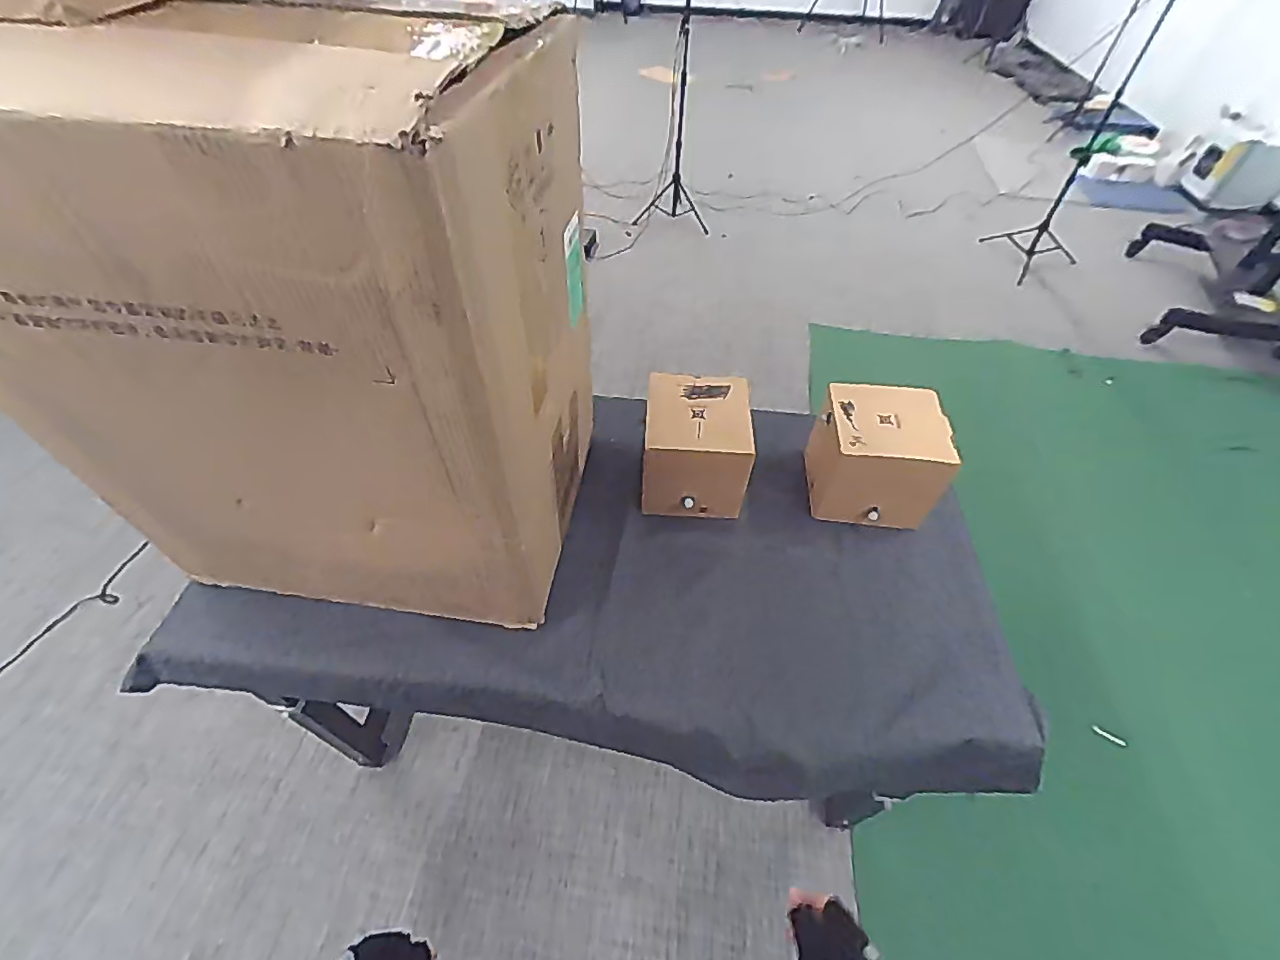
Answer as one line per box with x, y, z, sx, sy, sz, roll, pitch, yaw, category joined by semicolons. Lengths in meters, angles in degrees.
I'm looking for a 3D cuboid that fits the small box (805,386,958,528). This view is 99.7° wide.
0.393;-0.035;0.915;0.179;0.176;0.168;6;49;3;small box
